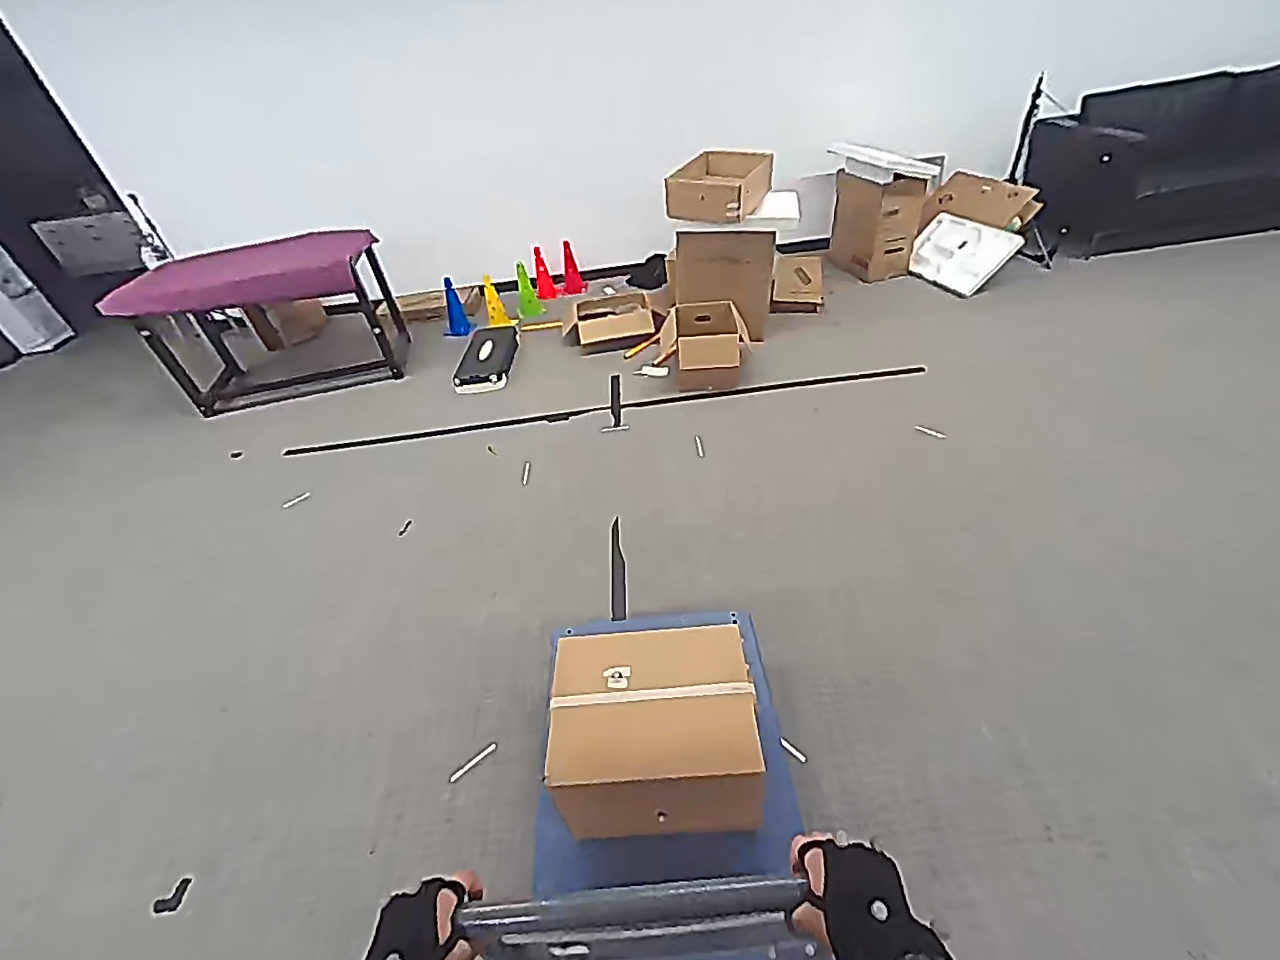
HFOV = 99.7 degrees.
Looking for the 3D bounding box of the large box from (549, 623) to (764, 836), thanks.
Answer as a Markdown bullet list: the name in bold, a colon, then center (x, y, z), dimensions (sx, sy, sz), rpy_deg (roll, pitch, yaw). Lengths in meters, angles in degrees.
- **large box**: center (0.041, 0.555, 1.200), dimensions (0.408, 0.320, 0.320), rpy_deg (-7, 39, 3)
